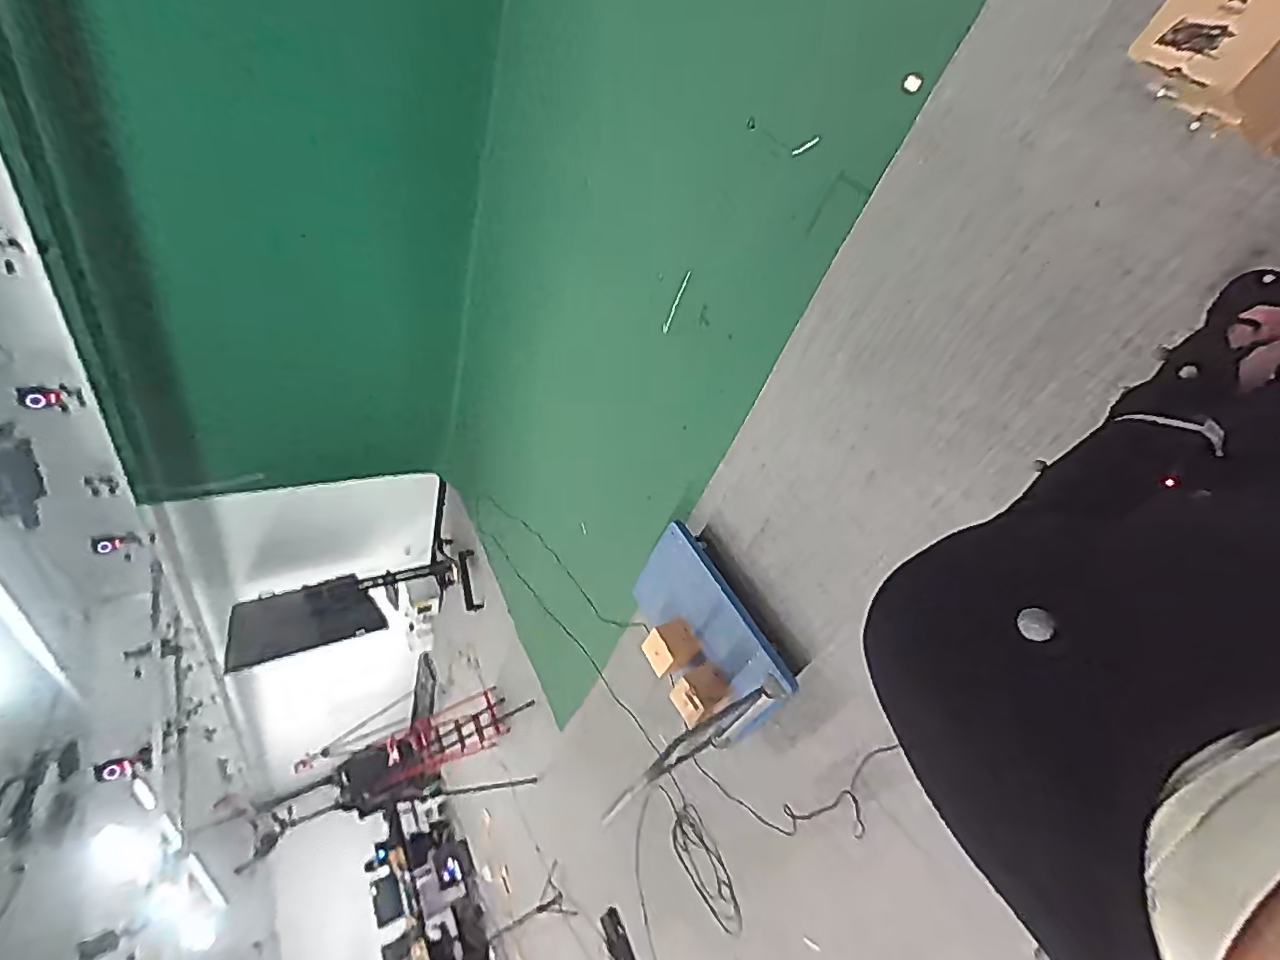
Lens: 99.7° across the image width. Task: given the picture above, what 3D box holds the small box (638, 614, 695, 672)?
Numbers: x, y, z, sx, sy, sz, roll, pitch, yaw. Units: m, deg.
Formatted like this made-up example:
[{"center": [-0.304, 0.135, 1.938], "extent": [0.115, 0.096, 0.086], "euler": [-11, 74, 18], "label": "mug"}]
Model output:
[{"center": [0.122, 0.735, 2.440], "extent": [0.168, 0.176, 0.179], "euler": [56, 137, 31], "label": "small box"}]

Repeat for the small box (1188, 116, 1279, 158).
[{"center": [1.145, -0.715, 0.979], "extent": [0.179, 0.176, 0.168], "euler": [59, 140, 28], "label": "small box"}]

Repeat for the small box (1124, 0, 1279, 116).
[{"center": [0.882, -0.670, 0.788], "extent": [0.168, 0.176, 0.179], "euler": [58, 139, 29], "label": "small box"}]

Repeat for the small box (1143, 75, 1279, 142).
[{"center": [1.009, -0.694, 0.892], "extent": [0.168, 0.176, 0.179], "euler": [59, 141, 28], "label": "small box"}]
